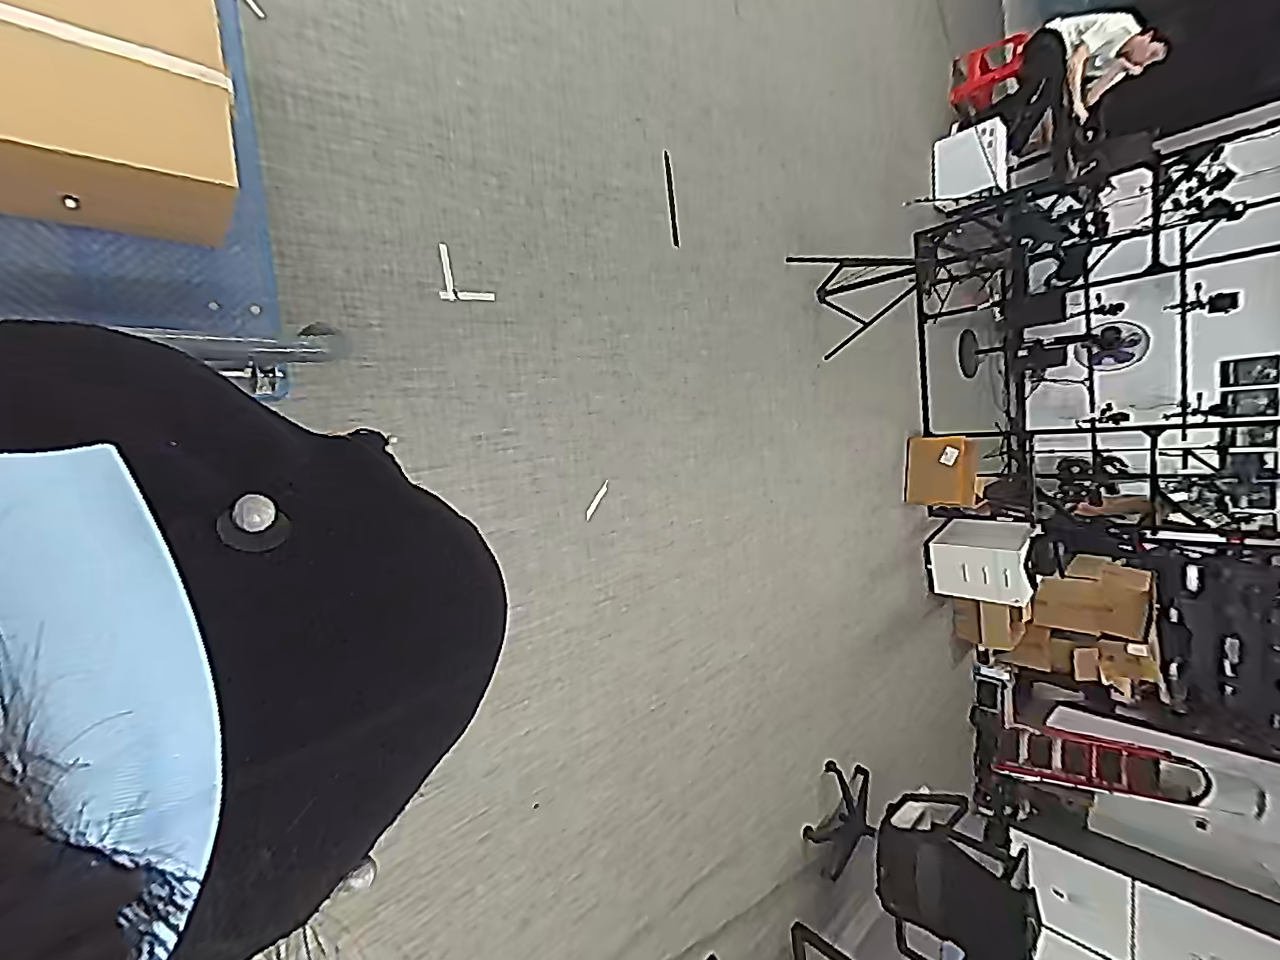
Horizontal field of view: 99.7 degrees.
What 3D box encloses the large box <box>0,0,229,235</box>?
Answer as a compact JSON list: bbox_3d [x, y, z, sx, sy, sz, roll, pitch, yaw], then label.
[{"bbox_3d":[-0.905,-0.605,0.822,0.408,0.320,0.320,-8,95,-41],"label":"large box"}]
